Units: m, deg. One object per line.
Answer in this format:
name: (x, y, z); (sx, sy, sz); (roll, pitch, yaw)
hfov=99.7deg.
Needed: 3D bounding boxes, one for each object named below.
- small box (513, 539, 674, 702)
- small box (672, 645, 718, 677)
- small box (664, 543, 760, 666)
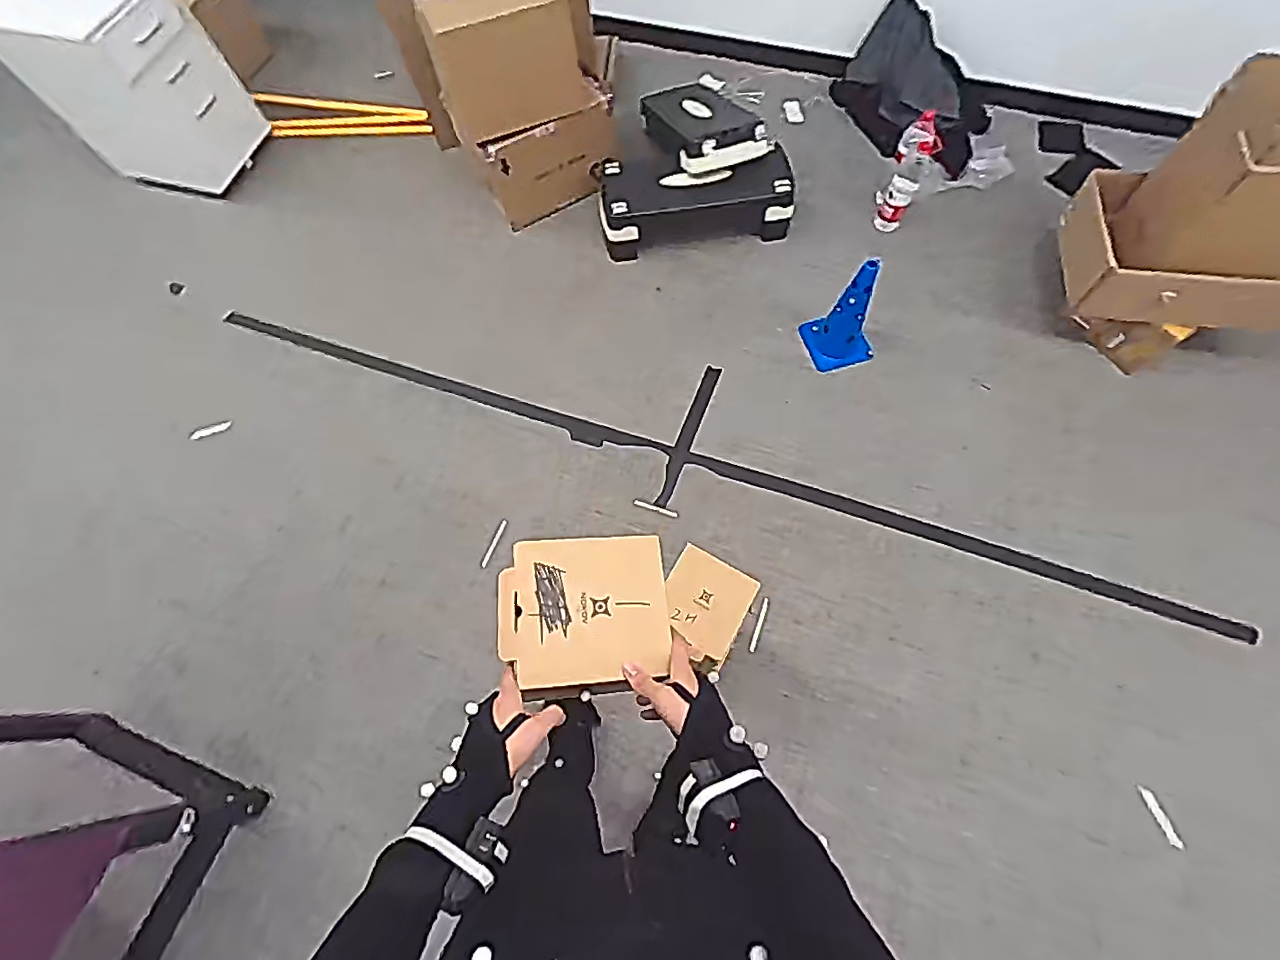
small box: (-0.066, 0.181, 0.682); (0.179, 0.176, 0.168); (-1, 65, -12)
small box: (0.144, 0.402, 1.414); (0.168, 0.176, 0.179); (23, 71, 11)
small box: (0.123, 0.262, 1.115); (0.168, 0.176, 0.179); (30, 72, 13)
